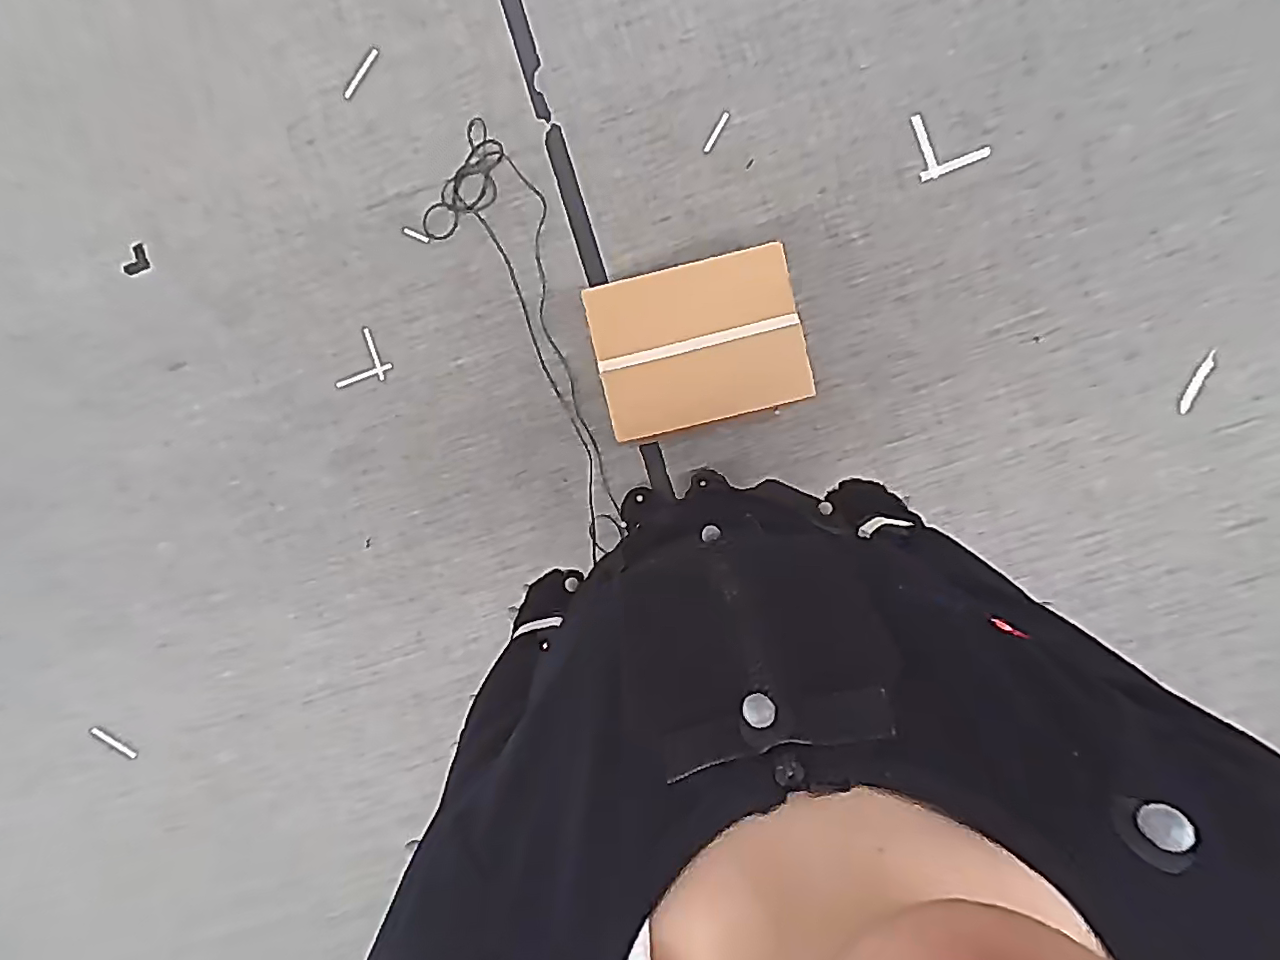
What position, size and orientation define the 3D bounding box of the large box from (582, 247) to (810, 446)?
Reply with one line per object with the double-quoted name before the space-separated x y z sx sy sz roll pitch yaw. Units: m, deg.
"large box" 0.117 -0.272 1.221 0.408 0.320 0.320 -13 91 2
